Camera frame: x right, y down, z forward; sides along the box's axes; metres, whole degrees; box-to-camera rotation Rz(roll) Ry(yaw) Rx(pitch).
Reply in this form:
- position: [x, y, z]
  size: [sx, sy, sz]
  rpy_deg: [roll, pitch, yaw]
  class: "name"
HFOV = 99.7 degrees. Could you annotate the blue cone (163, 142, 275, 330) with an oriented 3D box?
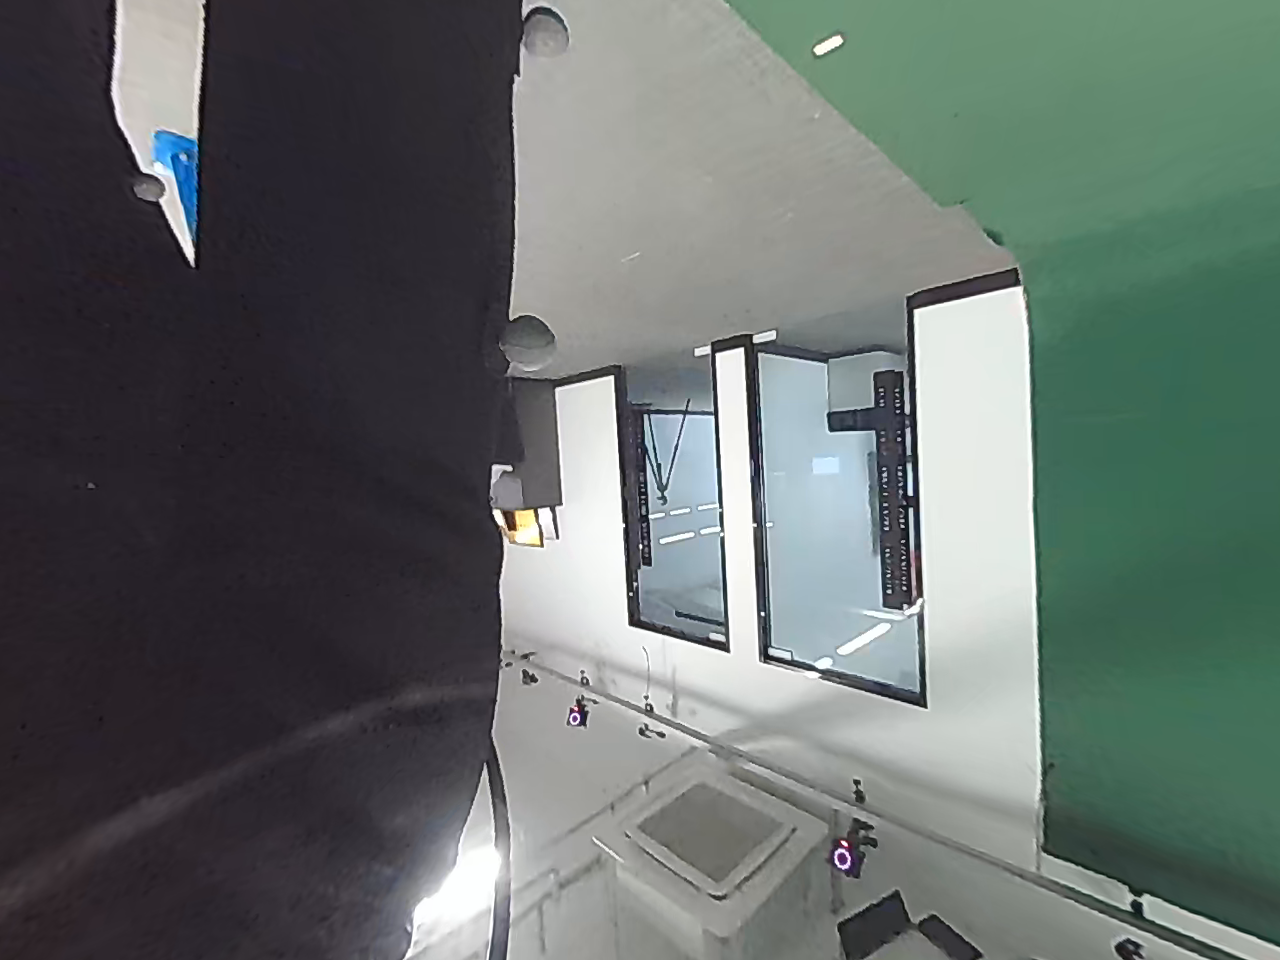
- position: [-0.941, -0.537, 1.231]
  size: [0.192, 0.380, 0.193]
  rpy_deg: [-6, -176, -45]
  class: "blue cone"
